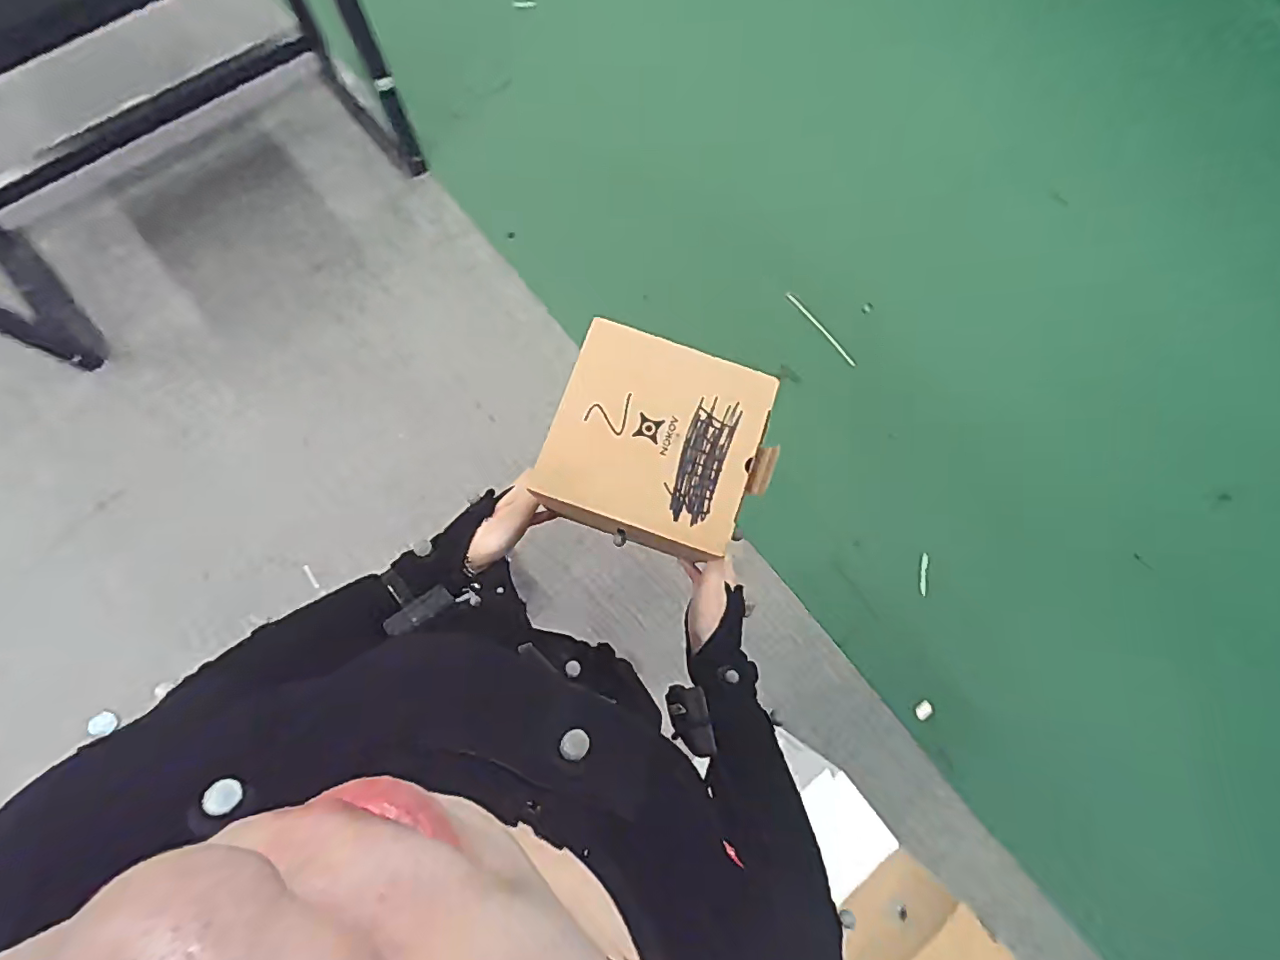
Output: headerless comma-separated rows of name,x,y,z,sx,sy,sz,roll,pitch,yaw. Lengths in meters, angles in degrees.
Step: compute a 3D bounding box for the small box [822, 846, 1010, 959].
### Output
small box,0.396,0.678,0.771,0.179,0.176,0.168,-37,82,-10
